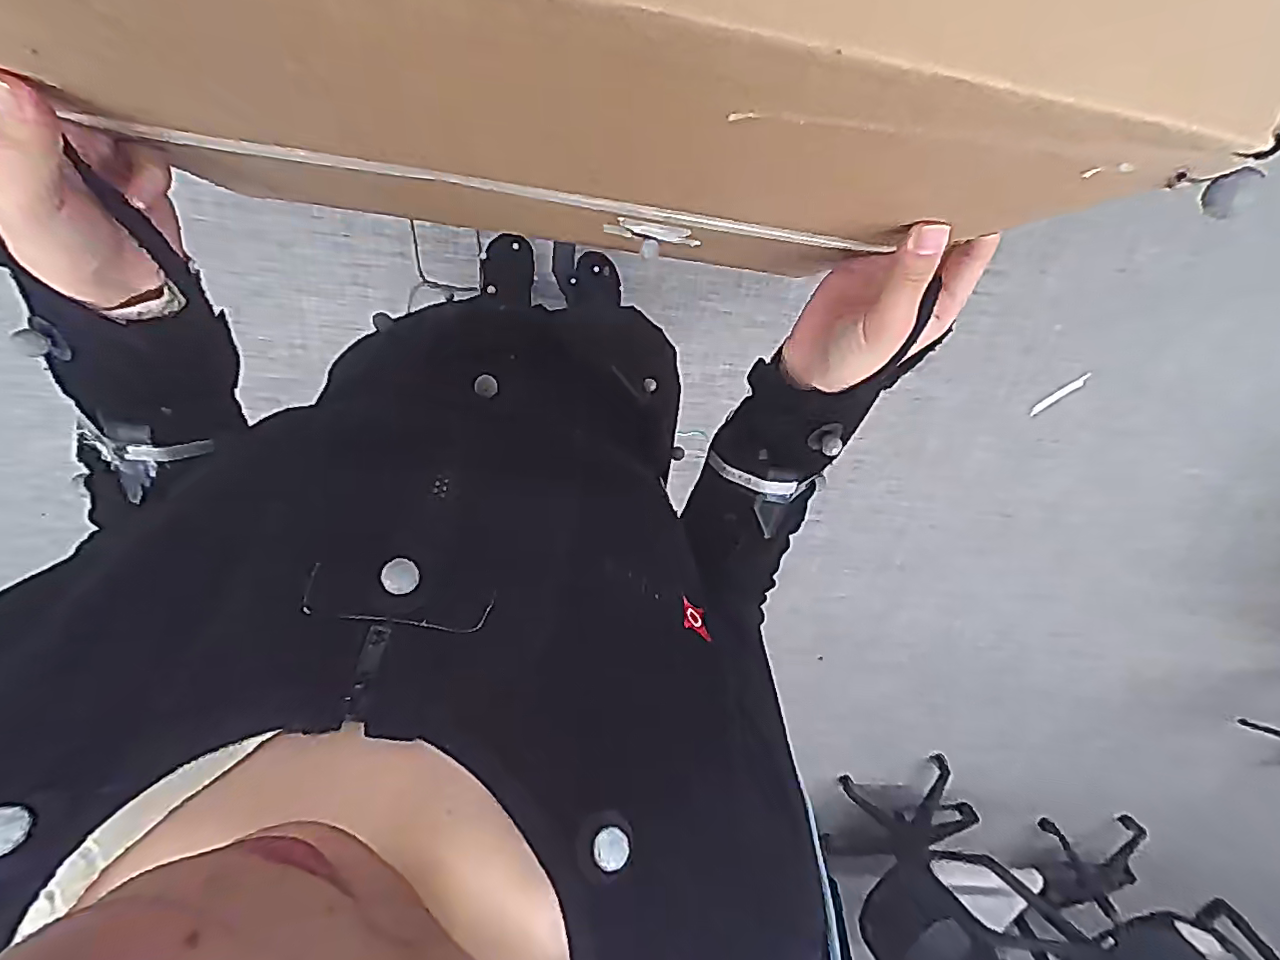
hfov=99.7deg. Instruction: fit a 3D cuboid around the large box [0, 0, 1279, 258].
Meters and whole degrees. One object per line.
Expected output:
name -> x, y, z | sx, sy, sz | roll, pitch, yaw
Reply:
large box -> -0.035, -0.294, 0.208 | 0.408, 0.320, 0.320 | 4, 105, -9
